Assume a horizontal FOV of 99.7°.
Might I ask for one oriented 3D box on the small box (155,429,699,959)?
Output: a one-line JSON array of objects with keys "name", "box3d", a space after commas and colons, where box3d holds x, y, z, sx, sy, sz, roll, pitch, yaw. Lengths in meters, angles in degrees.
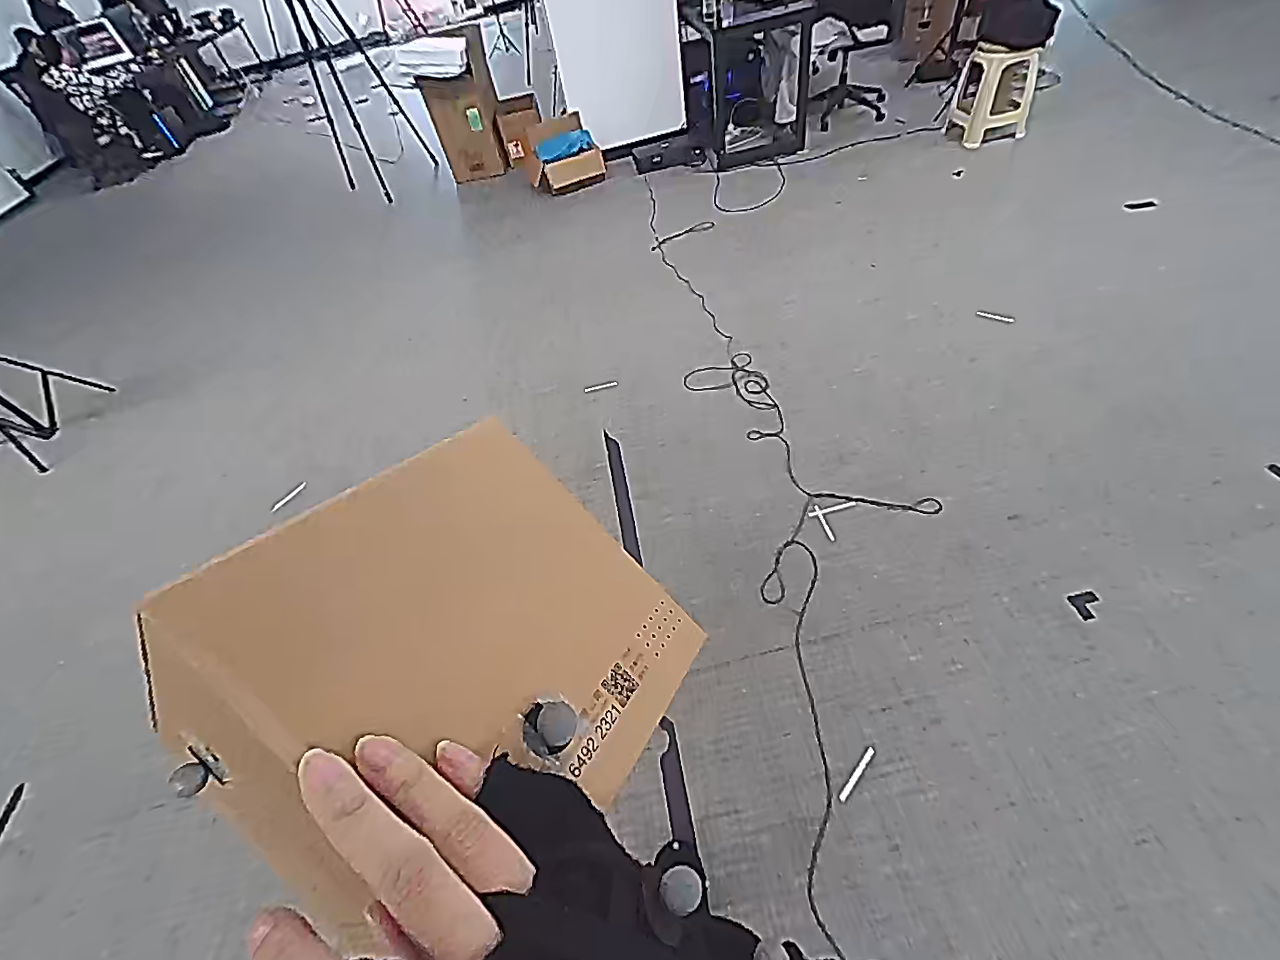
[{"name": "small box", "box3d": [-0.103, 0.111, 0.286, 0.176, 0.179, 0.168, 46, 40, 0]}]
